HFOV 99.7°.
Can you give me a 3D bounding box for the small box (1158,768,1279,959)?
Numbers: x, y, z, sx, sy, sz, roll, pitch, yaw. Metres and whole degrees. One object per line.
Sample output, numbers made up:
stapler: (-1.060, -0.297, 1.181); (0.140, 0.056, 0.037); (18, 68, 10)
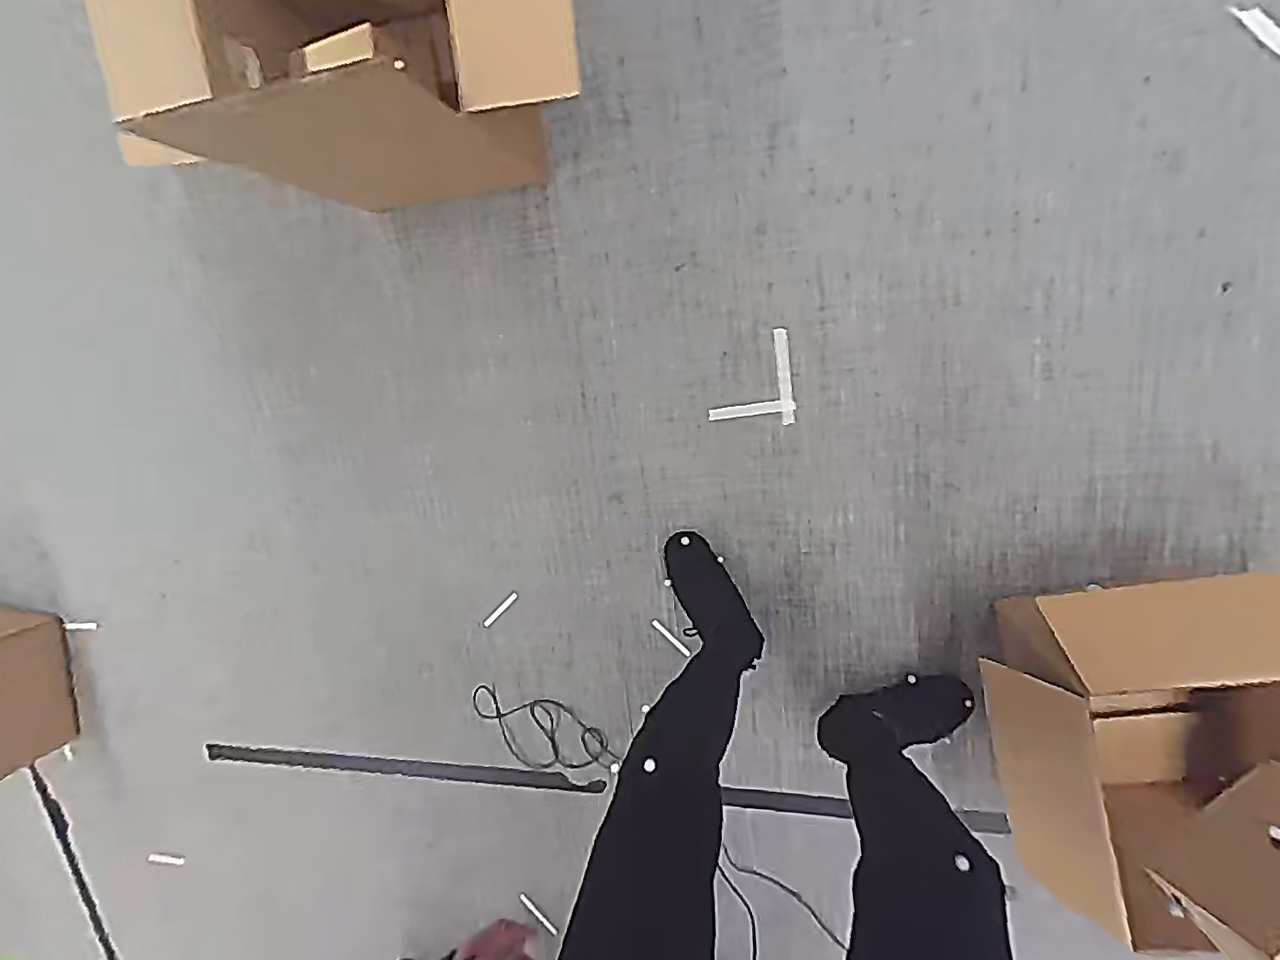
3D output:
small box: (0.615, 0.389, 0.462); (0.179, 0.176, 0.168); (-40, 72, 2)
